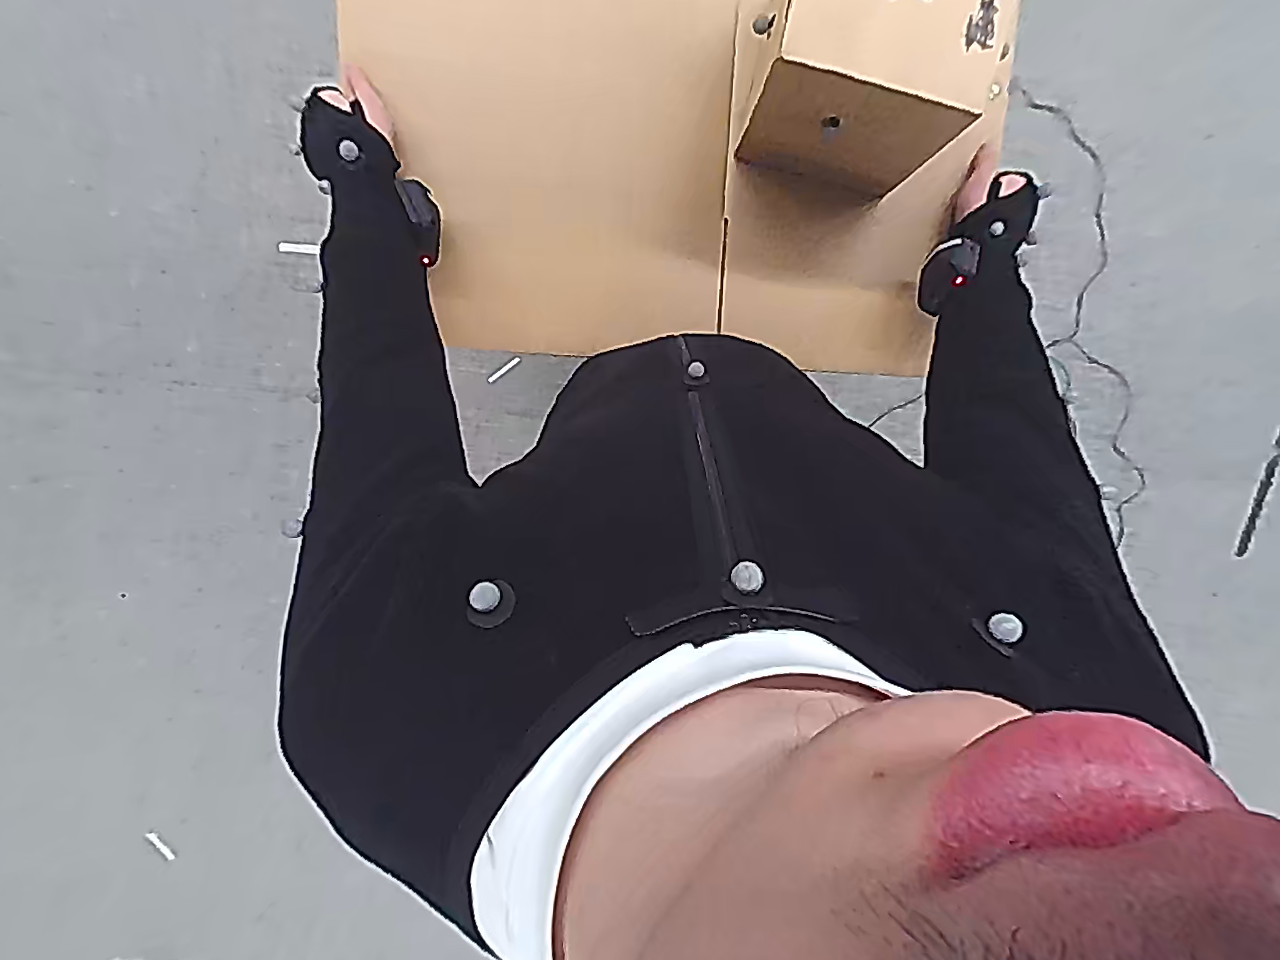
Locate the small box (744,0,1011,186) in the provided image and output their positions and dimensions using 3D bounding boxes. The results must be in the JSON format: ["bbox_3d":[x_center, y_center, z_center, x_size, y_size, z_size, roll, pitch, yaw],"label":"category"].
[{"bbox_3d":[0.210,-0.405,0.506,0.179,0.176,0.168,13,97,-2],"label":"small box"}]
